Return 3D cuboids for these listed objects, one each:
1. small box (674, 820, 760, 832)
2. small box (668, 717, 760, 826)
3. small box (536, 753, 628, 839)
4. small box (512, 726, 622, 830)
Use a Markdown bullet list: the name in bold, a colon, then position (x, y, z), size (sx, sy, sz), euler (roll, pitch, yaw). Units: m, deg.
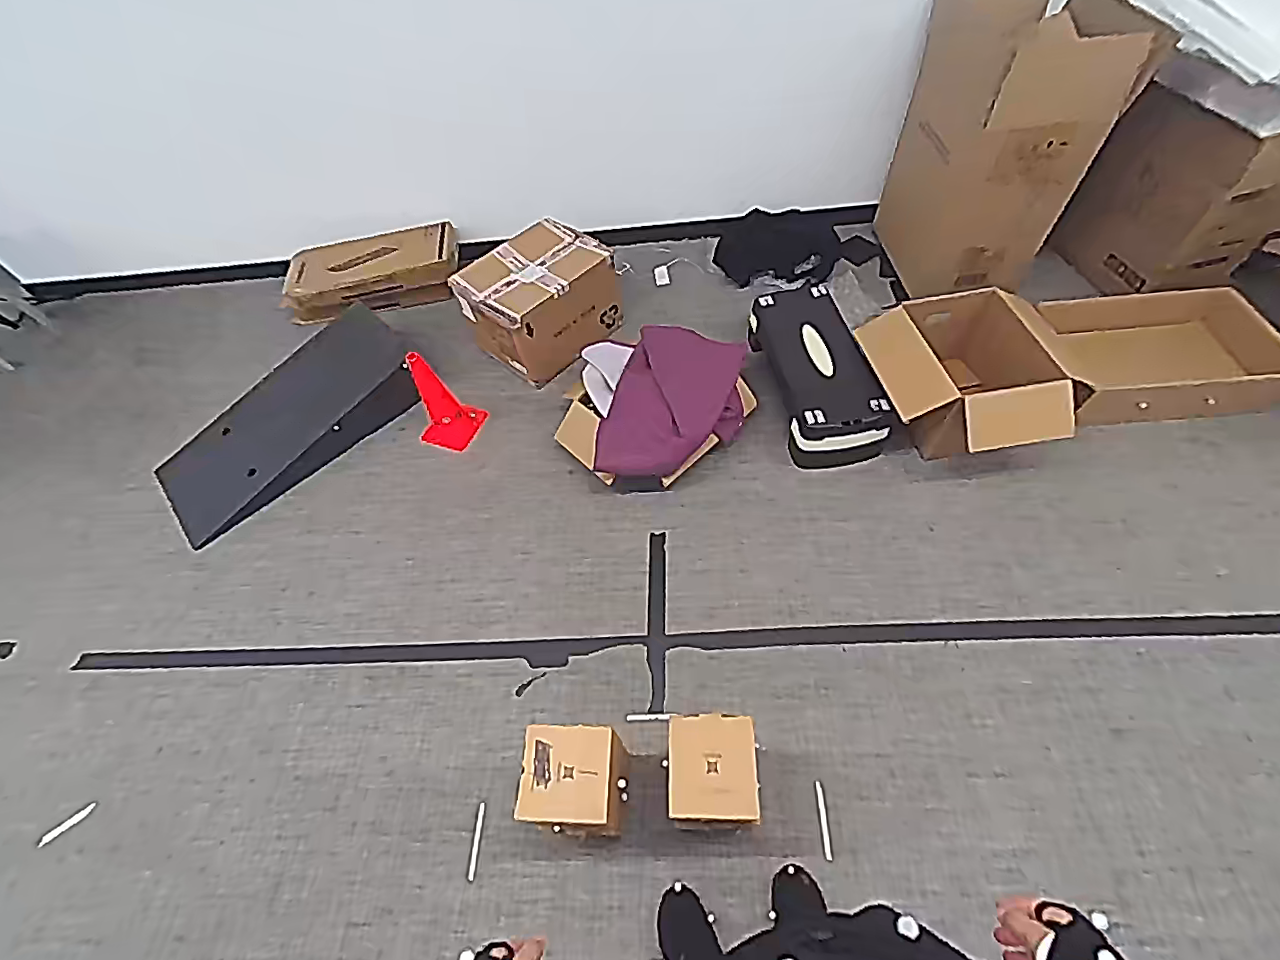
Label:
- **small box**: position (0.163, 0.682, 1.202), size (0.179, 0.176, 0.168), euler (-4, 55, 4)
- **small box**: position (0.143, 0.581, 1.075), size (0.168, 0.176, 0.179), euler (-3, 57, 6)
- **small box**: position (-0.122, 0.702, 1.222), size (0.168, 0.176, 0.179), euler (-1, 56, 7)
- **small box**: position (-0.137, 0.603, 1.091), size (0.179, 0.176, 0.168), euler (-1, 56, 6)
